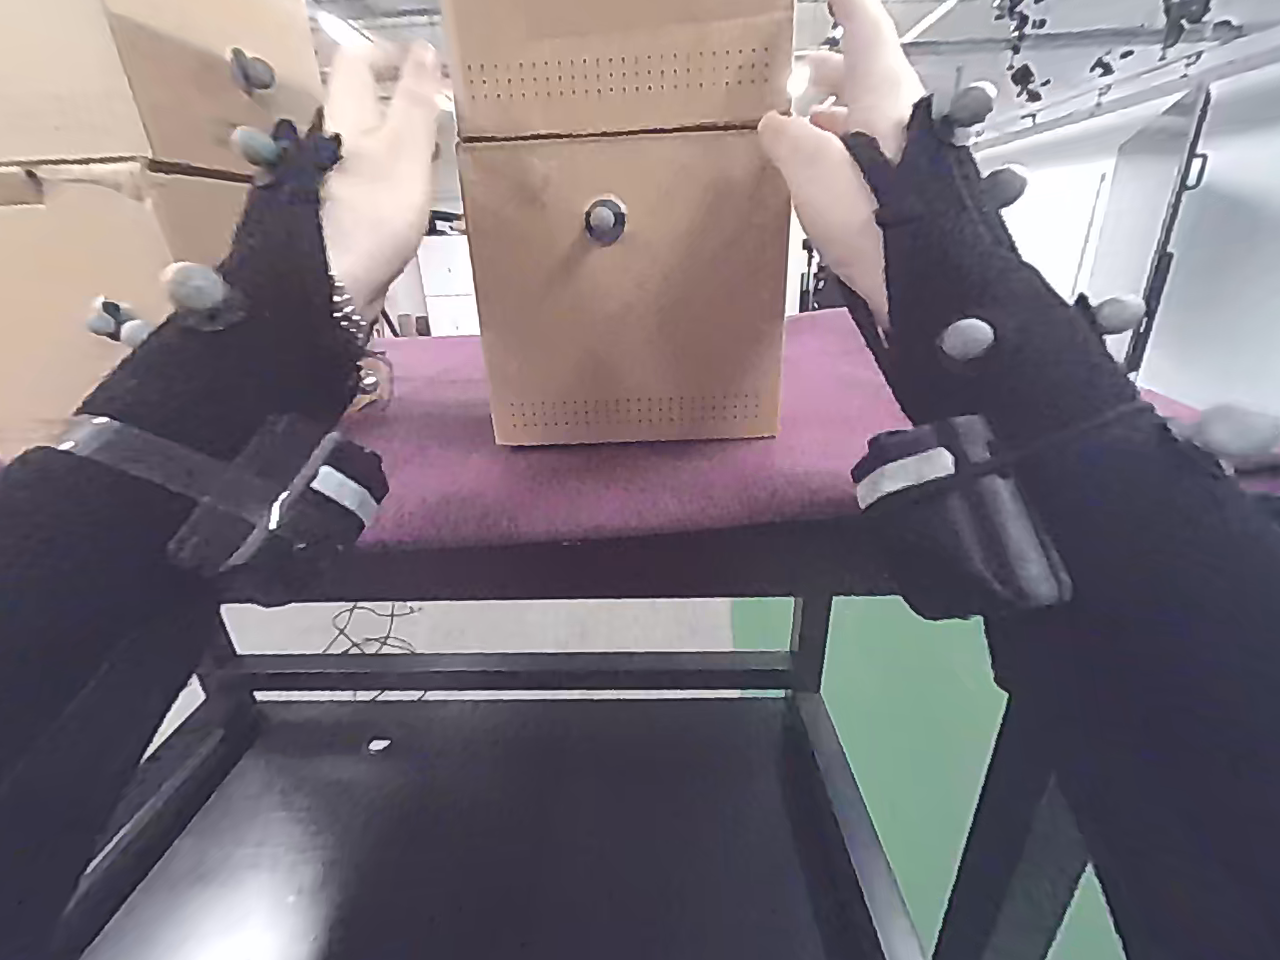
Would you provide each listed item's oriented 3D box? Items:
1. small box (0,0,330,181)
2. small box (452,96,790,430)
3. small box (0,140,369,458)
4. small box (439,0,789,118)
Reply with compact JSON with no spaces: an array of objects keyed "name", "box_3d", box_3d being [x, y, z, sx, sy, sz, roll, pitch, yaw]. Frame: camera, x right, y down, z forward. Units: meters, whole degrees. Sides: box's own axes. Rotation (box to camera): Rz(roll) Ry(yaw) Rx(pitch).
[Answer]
[{"name":"small box","box_3d":[-0.322,-0.271,0.311,0.179,0.176,0.168,0,24,4]},{"name":"small box","box_3d":[-0.004,-0.133,0.371,0.179,0.176,0.168,-2,21,2]},{"name":"small box","box_3d":[-0.317,-0.119,0.374,0.168,0.176,0.179,0,23,3]},{"name":"small box","box_3d":[-0.013,-0.286,0.317,0.179,0.176,0.168,-2,21,2]}]
